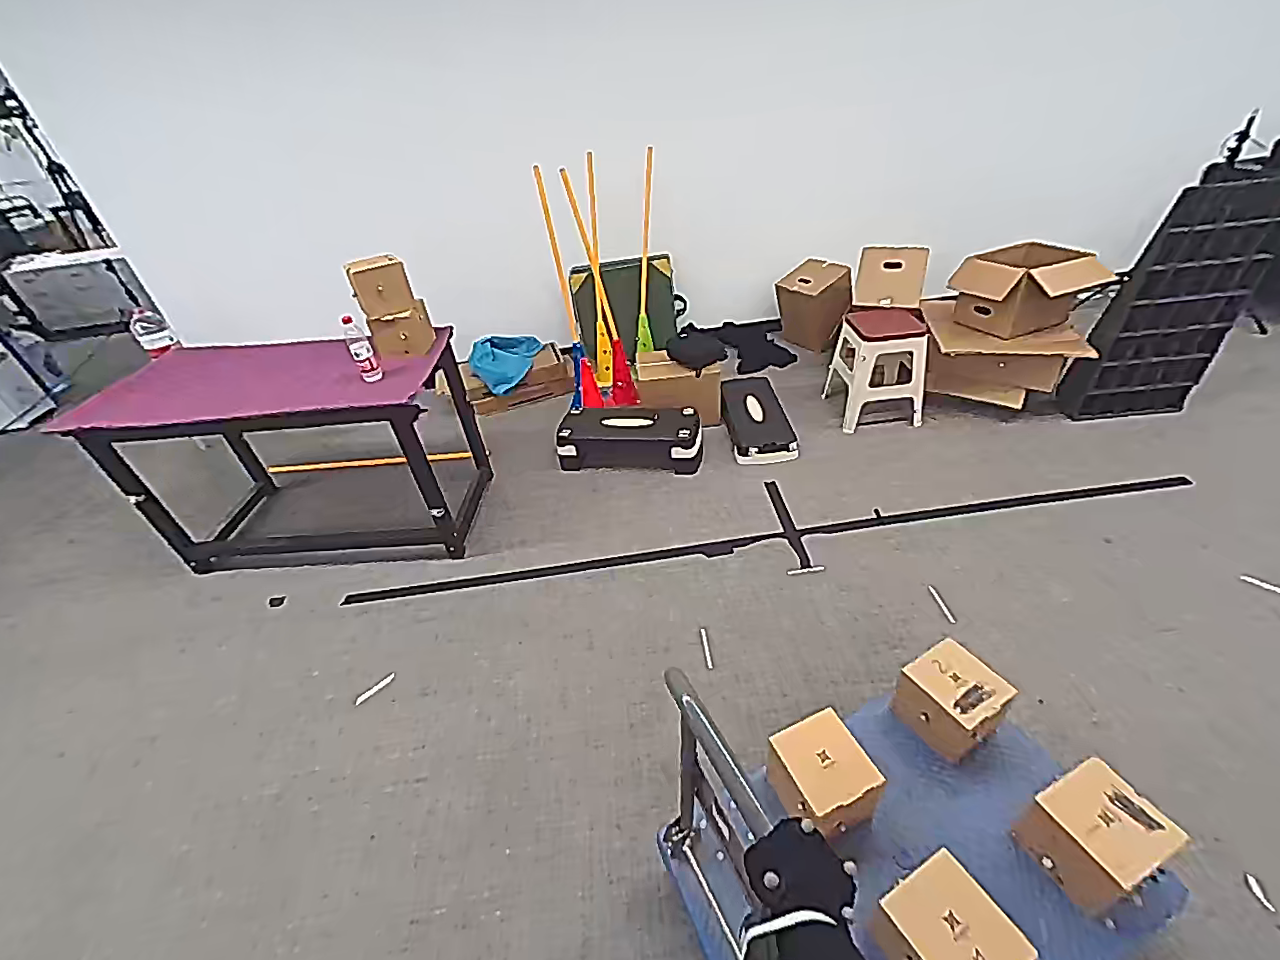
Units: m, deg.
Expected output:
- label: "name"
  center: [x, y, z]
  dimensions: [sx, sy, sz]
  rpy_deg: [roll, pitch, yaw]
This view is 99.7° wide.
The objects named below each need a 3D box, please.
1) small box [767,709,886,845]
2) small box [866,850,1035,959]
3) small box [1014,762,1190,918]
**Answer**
- label: "small box"
  center: [0.390, 0.640, 1.169]
  dimensions: [0.168, 0.176, 0.179]
  rpy_deg: [-18, 41, -14]
- label: "small box"
  center: [0.523, 0.802, 0.940]
  dimensions: [0.168, 0.176, 0.179]
  rpy_deg: [-21, 40, -18]
- label: "small box"
  center: [0.865, 0.688, 1.035]
  dimensions: [0.179, 0.176, 0.168]
  rpy_deg: [-20, 40, -15]
